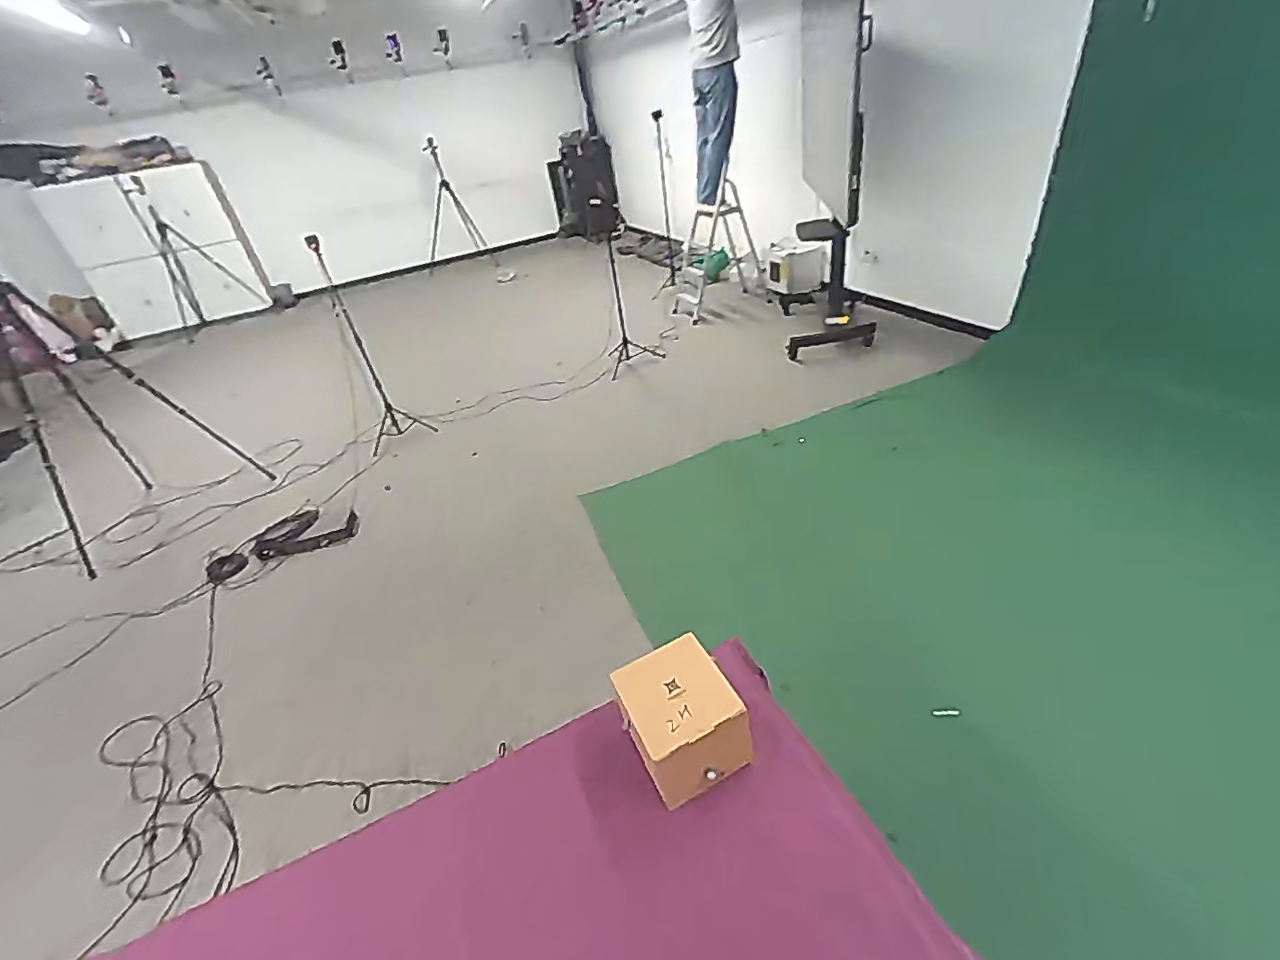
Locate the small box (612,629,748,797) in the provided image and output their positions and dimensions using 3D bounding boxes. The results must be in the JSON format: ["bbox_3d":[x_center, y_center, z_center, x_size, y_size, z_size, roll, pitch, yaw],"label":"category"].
[{"bbox_3d":[0.070,0.402,0.939,0.168,0.176,0.179,-24,38,-13],"label":"small box"}]
